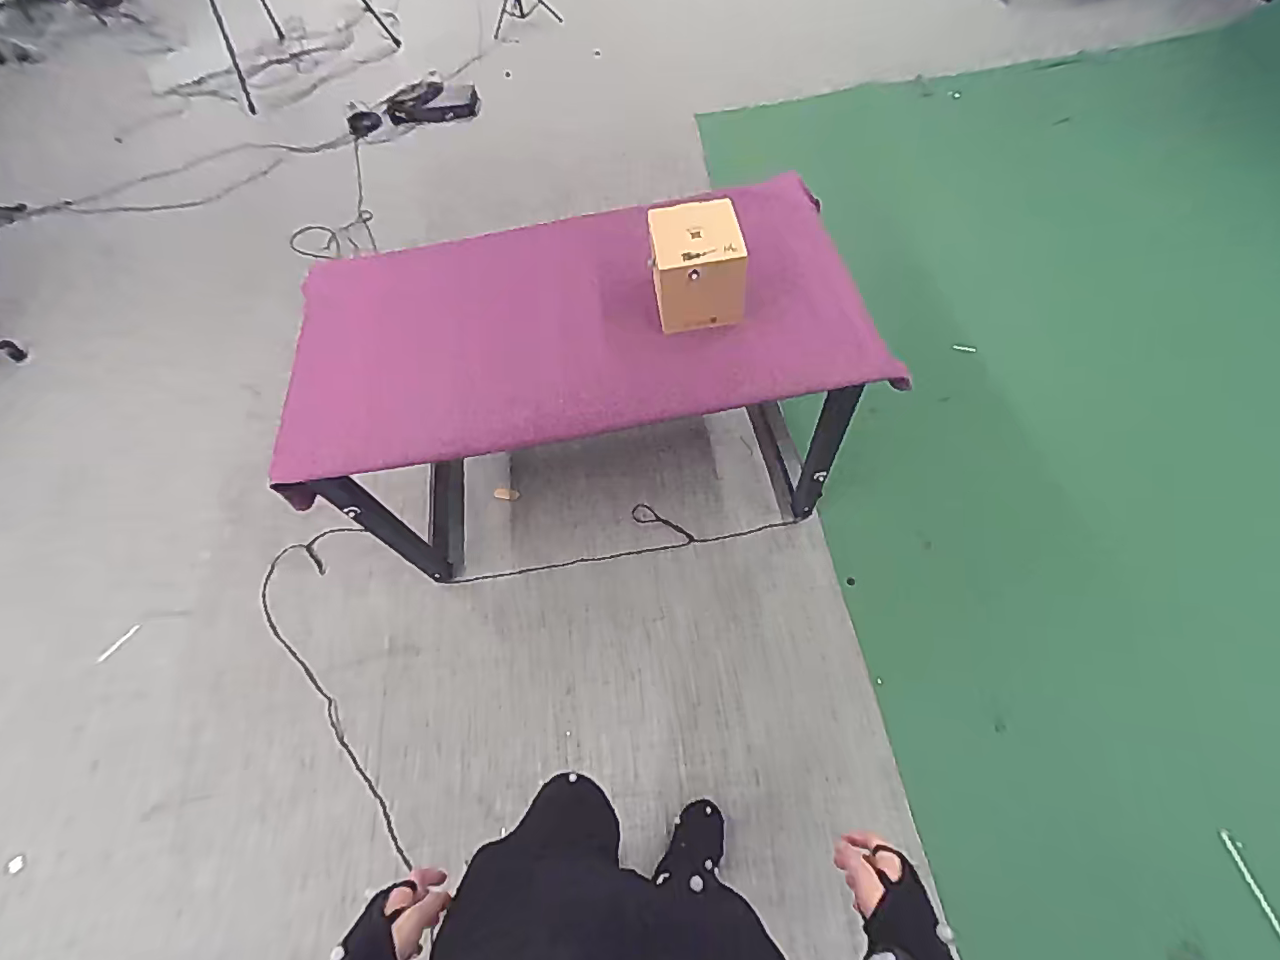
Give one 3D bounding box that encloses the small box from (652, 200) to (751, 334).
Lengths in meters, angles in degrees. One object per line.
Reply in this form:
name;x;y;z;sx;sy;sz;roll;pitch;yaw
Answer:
small box;0.117;-0.421;1.078;0.168;0.176;0.179;-8;60;2
